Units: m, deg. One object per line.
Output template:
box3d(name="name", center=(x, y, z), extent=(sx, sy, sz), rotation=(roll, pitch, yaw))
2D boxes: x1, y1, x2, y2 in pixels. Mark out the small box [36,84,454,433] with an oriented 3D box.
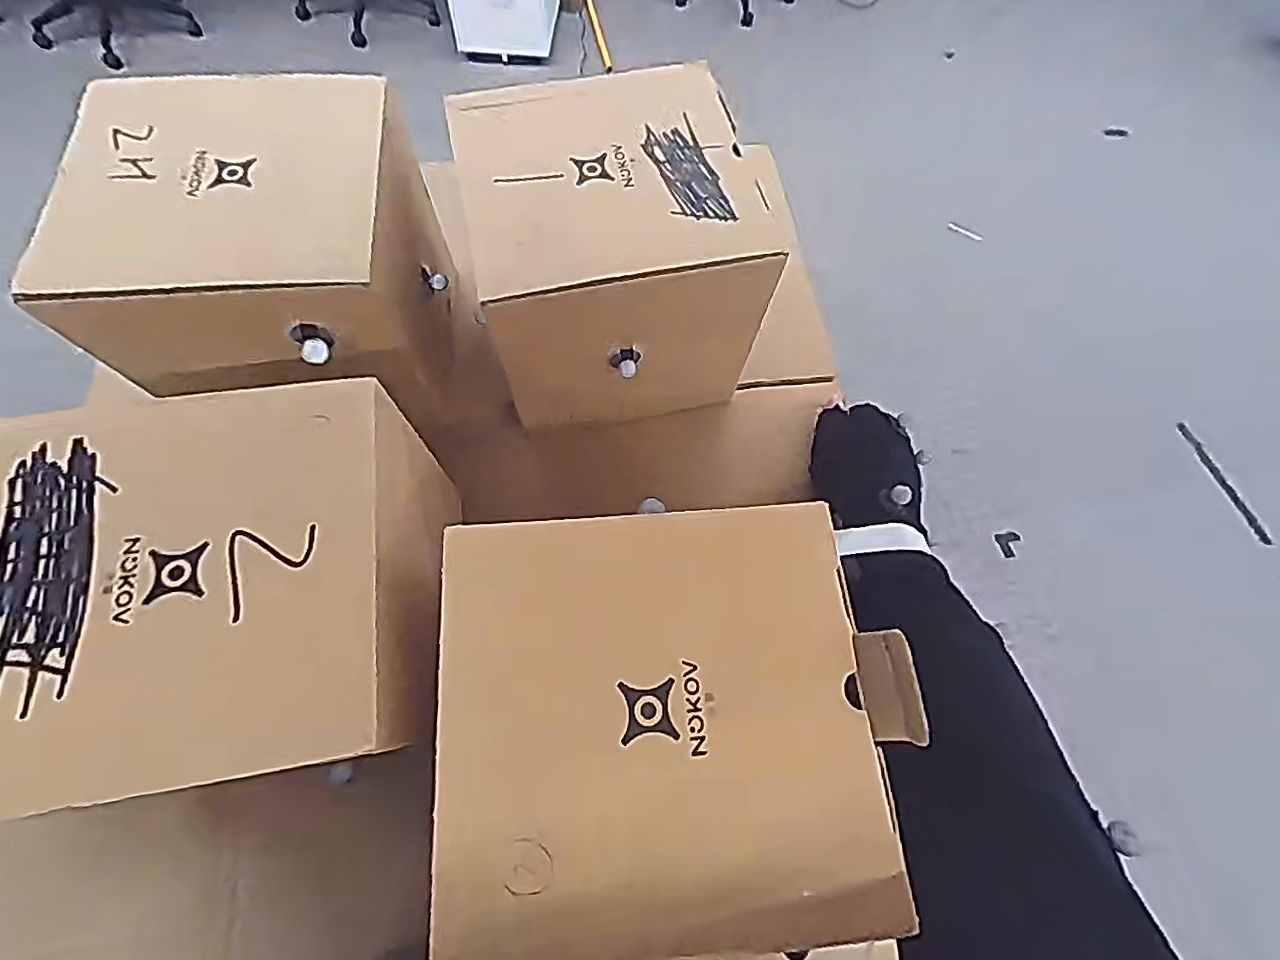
box3d(name="small box", center=(-0.243, -0.145, 0.393), extent=(0.179, 0.176, 0.168), rotation=(-5, 69, -4))
